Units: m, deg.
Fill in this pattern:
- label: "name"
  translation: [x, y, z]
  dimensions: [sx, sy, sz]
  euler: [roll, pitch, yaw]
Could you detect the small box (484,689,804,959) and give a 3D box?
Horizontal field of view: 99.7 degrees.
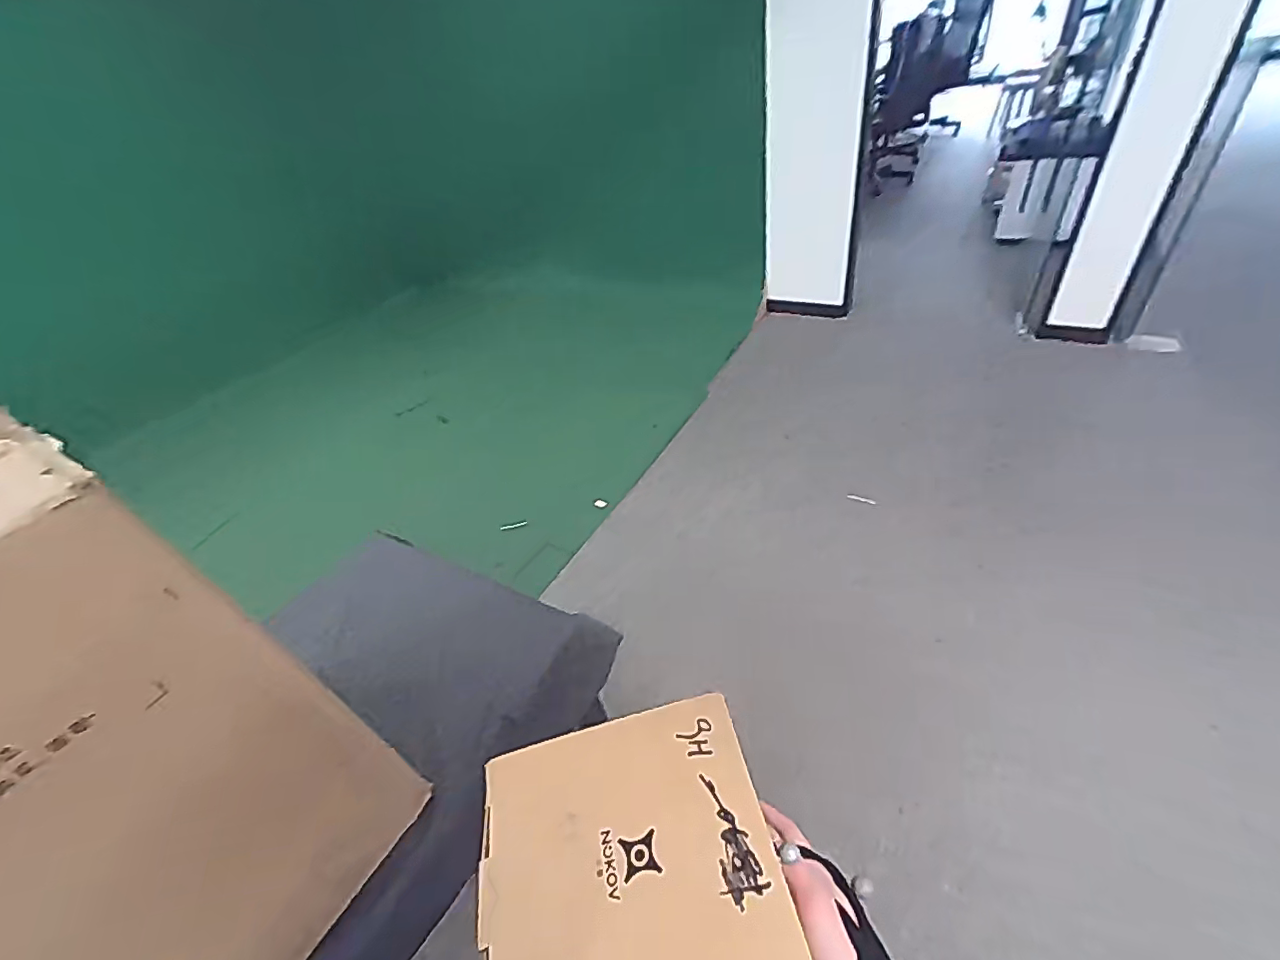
- label: "small box"
  translation: [0.005, 0.283, 0.384]
  dimensions: [0.179, 0.176, 0.168]
  euler: [-16, 43, -1]
